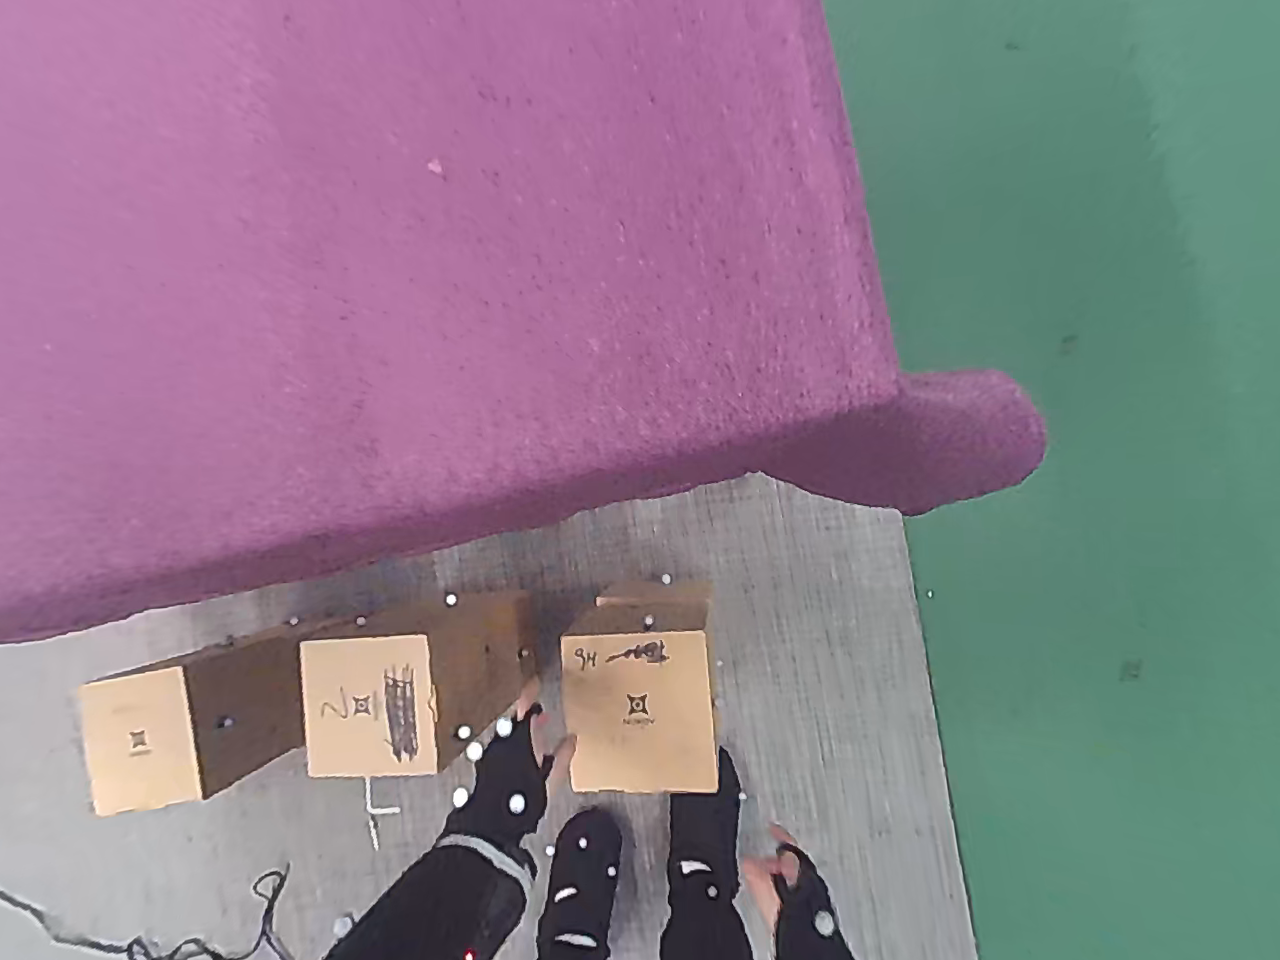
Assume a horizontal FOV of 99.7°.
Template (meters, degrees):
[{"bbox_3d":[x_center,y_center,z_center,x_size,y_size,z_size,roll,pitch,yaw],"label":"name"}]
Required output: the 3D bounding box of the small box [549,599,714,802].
[{"bbox_3d":[-0.002,0.263,0.678,0.168,0.176,0.179,-10,89,5],"label":"small box"}]

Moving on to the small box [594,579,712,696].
[{"bbox_3d":[0.027,0.256,0.844,0.168,0.176,0.179,0,87,9],"label":"small box"}]
